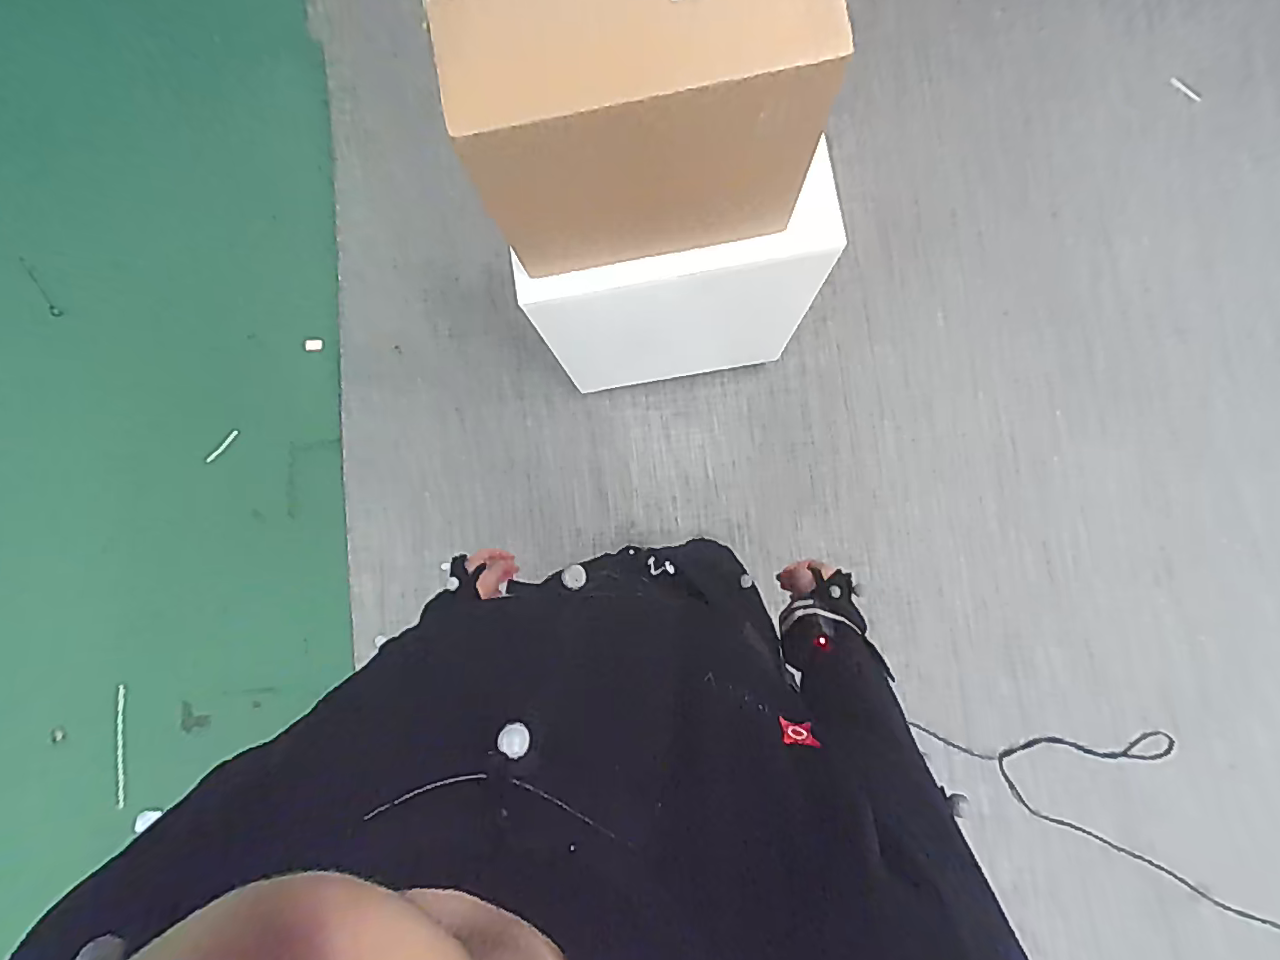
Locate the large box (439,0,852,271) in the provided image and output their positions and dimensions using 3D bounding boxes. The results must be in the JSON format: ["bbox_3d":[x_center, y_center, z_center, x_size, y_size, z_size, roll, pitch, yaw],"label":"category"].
[{"bbox_3d":[-0.008,-0.515,0.694,0.408,0.320,0.320,-10,85,1],"label":"large box"}]
